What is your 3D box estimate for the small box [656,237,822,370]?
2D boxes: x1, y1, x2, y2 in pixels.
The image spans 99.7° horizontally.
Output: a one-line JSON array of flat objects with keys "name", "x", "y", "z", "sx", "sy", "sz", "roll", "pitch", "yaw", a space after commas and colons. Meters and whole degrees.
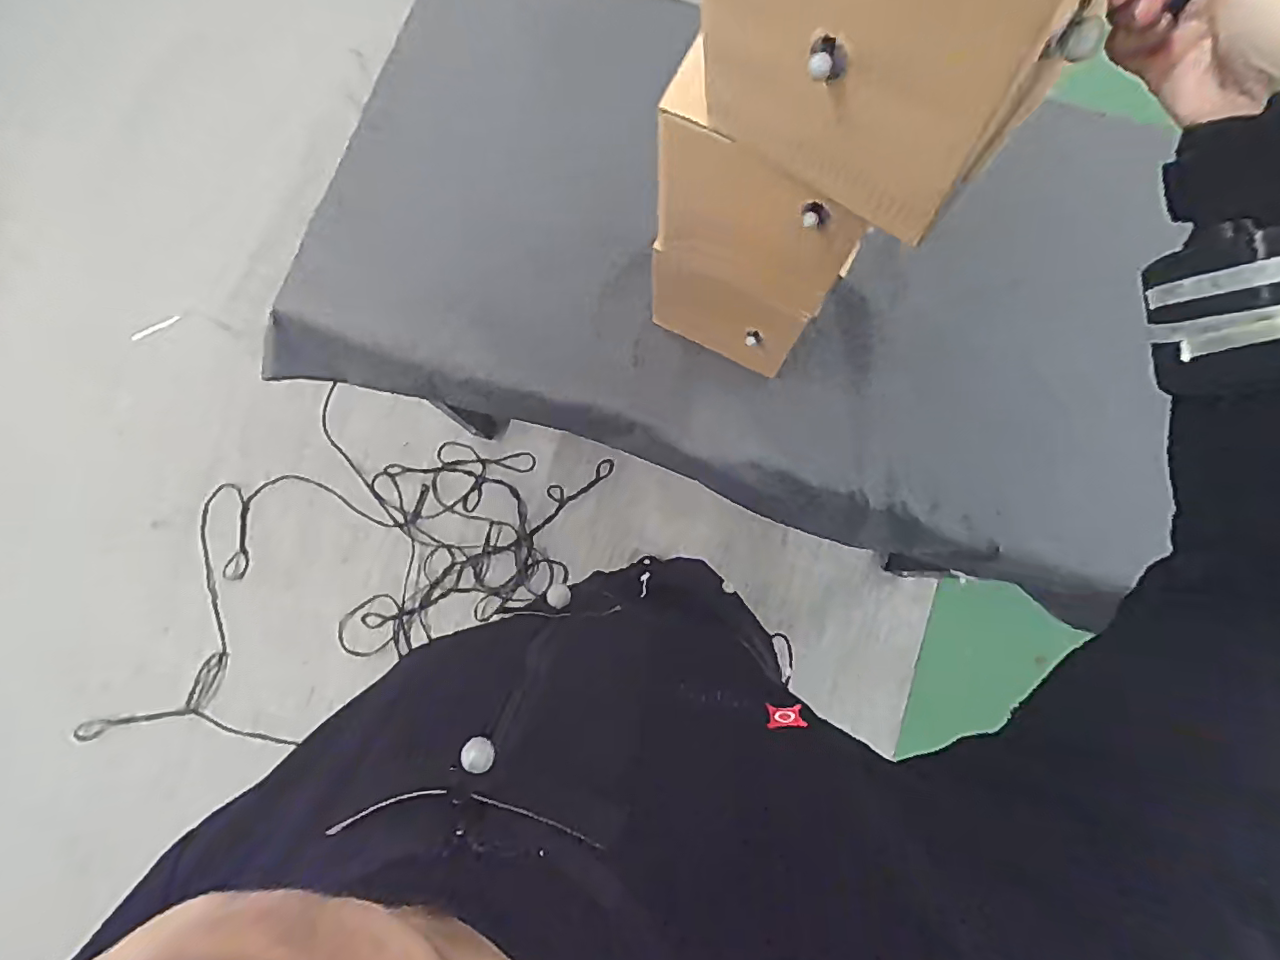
[{"name": "small box", "x": 0.131, "y": -0.250, "z": 0.631, "sx": 0.179, "sy": 0.176, "sz": 0.168, "roll": 26, "pitch": 81, "yaw": 6}]

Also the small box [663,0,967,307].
[{"name": "small box", "x": 0.129, "y": -0.282, "z": 0.471, "sx": 0.179, "sy": 0.176, "sz": 0.168, "roll": 26, "pitch": 81, "yaw": 5}]
